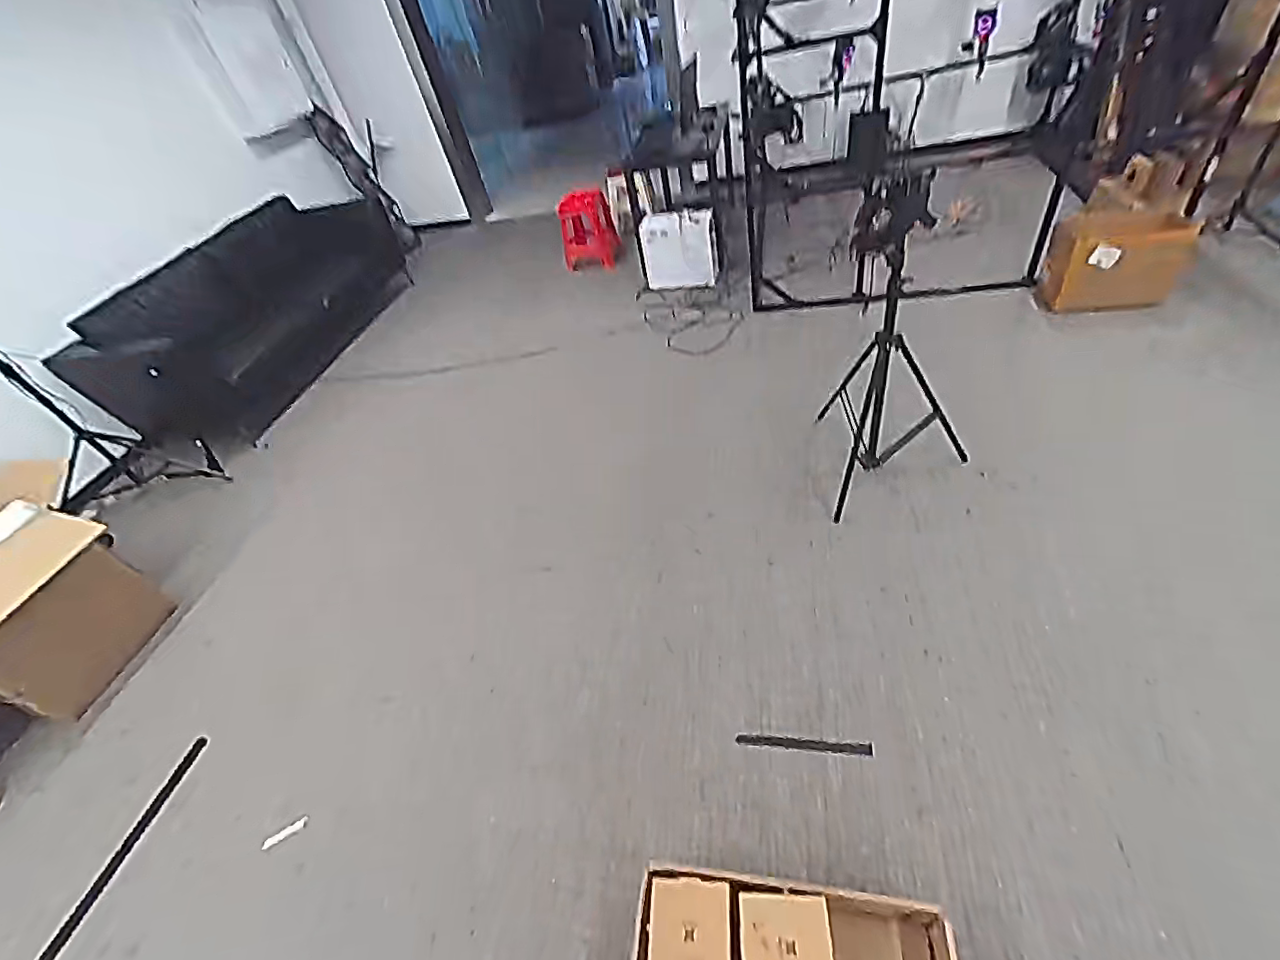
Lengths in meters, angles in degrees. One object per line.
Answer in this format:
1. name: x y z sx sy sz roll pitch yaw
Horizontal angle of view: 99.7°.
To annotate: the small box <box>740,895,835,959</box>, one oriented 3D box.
1. small box: 0.297 0.959 1.095 0.179 0.176 0.168 -4 45 10
